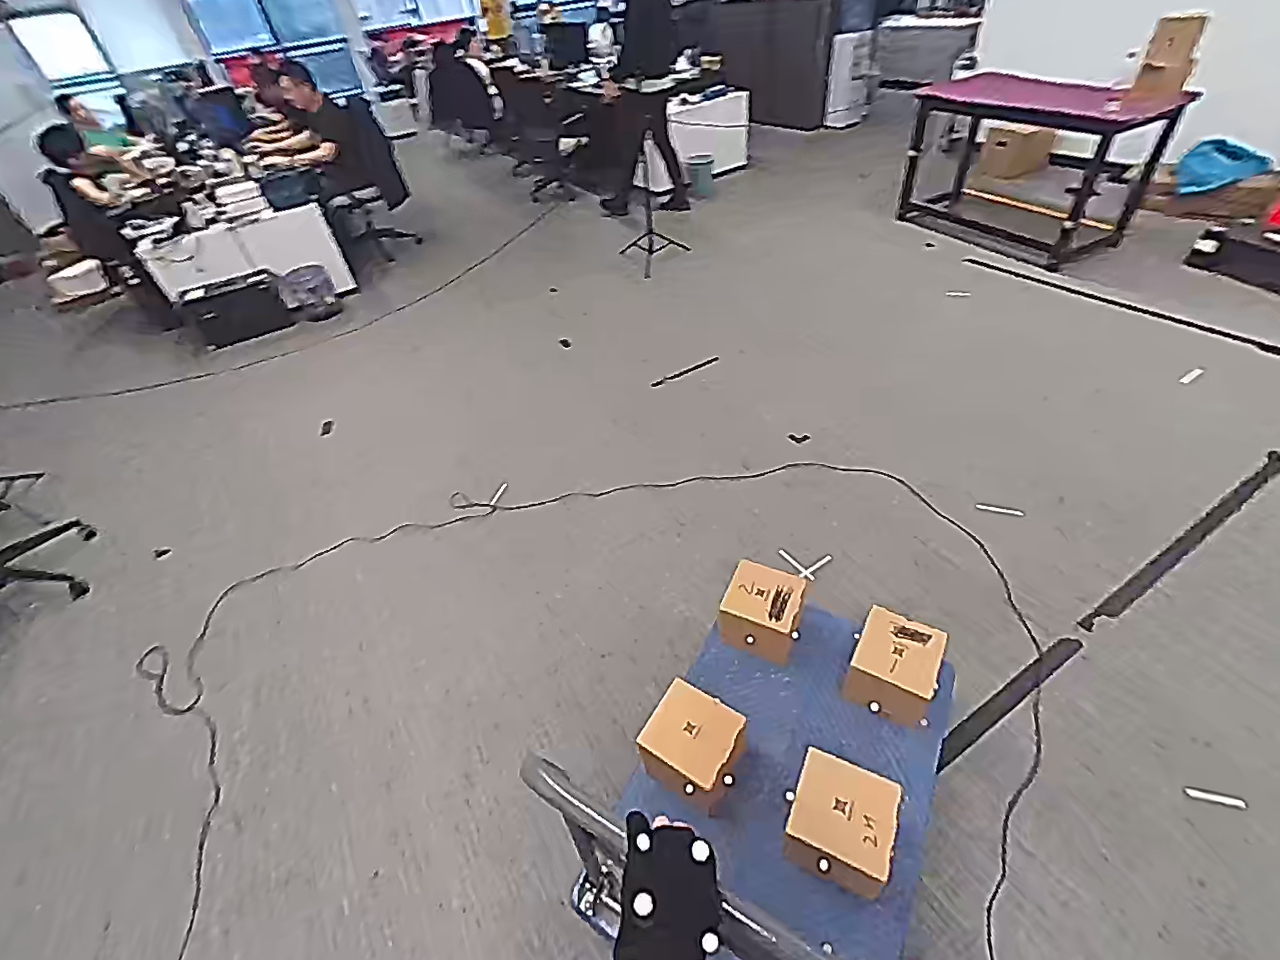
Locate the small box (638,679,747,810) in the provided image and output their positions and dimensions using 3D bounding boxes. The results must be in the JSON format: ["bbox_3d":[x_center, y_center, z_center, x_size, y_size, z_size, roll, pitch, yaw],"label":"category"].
[{"bbox_3d":[0.115,0.578,1.174,0.179,0.176,0.168,22,51,26],"label":"small box"}]

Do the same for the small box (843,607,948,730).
[{"bbox_3d":[0.583,0.434,1.249,0.168,0.176,0.179,20,51,27],"label":"small box"}]

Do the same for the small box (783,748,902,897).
[{"bbox_3d":[0.383,0.662,1.041,0.179,0.176,0.168,16,48,24],"label":"small box"}]
